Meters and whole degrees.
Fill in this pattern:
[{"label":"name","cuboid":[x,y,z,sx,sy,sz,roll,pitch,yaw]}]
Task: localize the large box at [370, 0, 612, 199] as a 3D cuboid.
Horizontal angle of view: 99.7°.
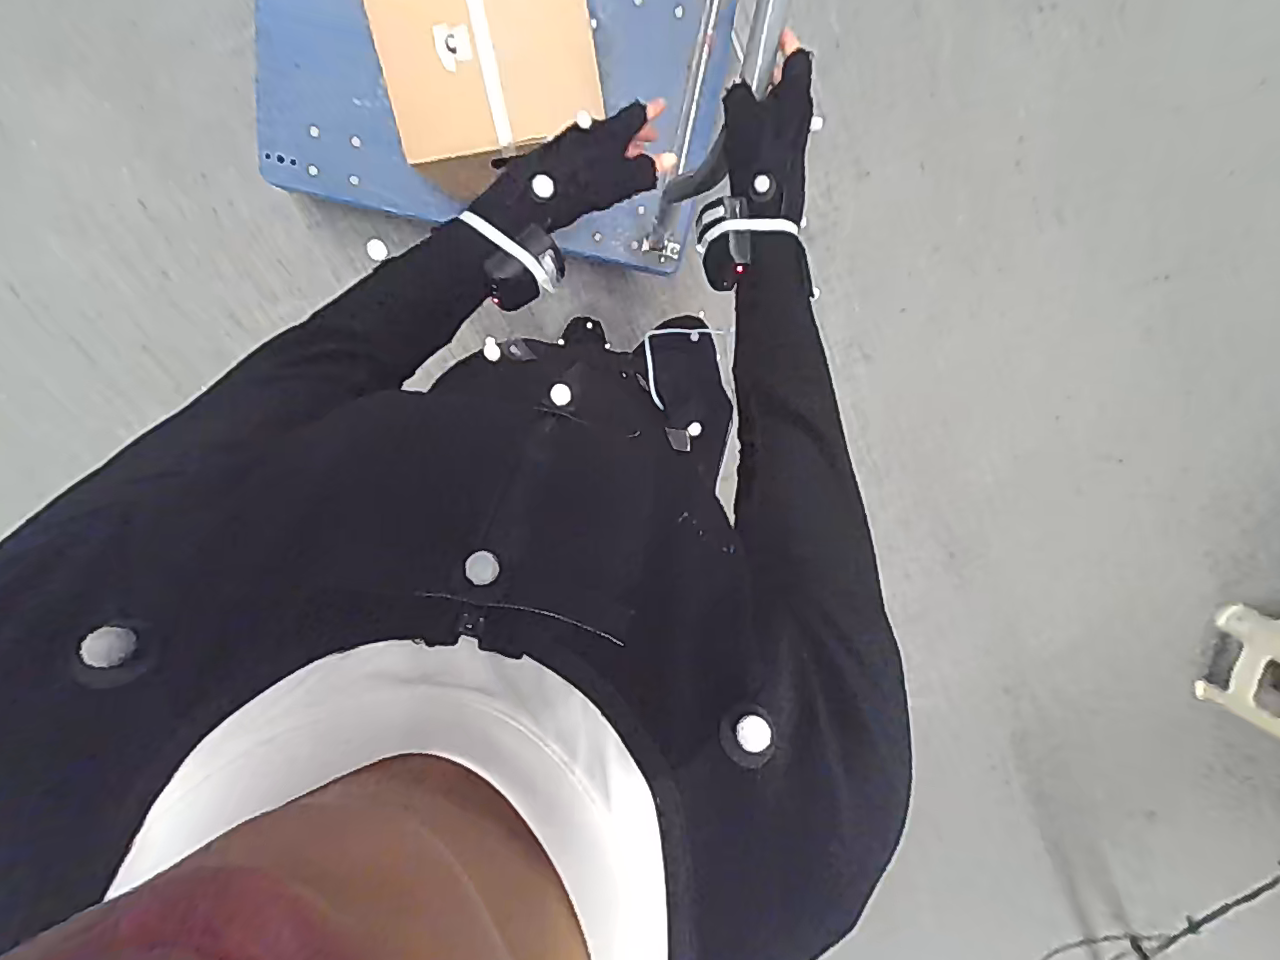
[{"label":"large box","cuboid":[-0.240,-0.746,0.915,0.320,0.320,0.408,-11,109,2]}]
